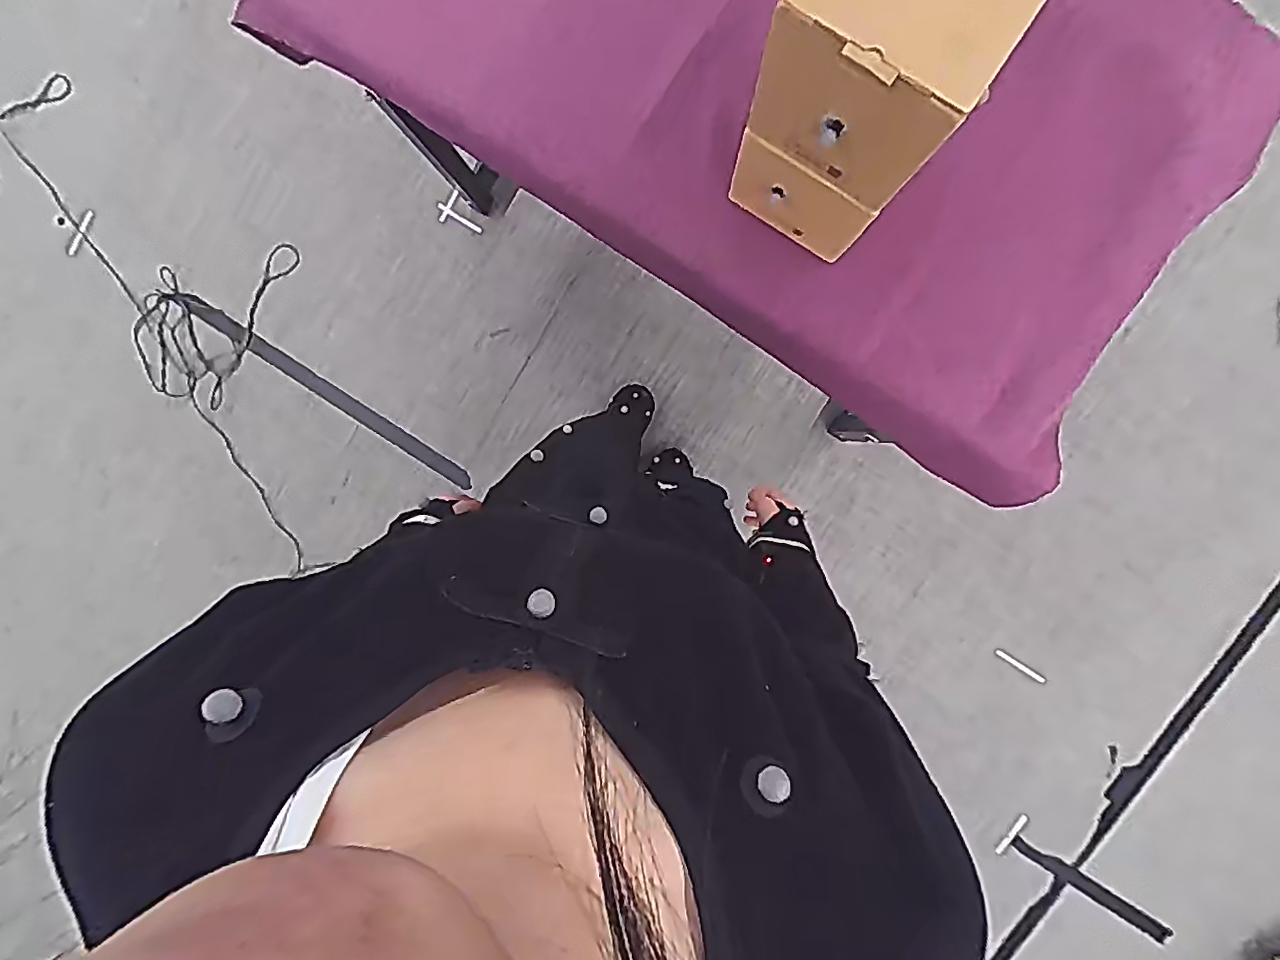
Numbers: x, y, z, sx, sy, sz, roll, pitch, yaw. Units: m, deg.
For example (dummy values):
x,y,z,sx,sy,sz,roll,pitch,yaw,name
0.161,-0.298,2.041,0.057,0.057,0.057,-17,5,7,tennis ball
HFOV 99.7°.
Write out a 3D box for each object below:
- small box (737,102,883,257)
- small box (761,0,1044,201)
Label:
x,y,z,sx,sy,sz,roll,pitch,yaw,name
0.228,-0.396,0.632,0.168,0.176,0.179,33,95,0,small box
0.222,-0.386,0.469,0.168,0.176,0.179,34,96,0,small box
